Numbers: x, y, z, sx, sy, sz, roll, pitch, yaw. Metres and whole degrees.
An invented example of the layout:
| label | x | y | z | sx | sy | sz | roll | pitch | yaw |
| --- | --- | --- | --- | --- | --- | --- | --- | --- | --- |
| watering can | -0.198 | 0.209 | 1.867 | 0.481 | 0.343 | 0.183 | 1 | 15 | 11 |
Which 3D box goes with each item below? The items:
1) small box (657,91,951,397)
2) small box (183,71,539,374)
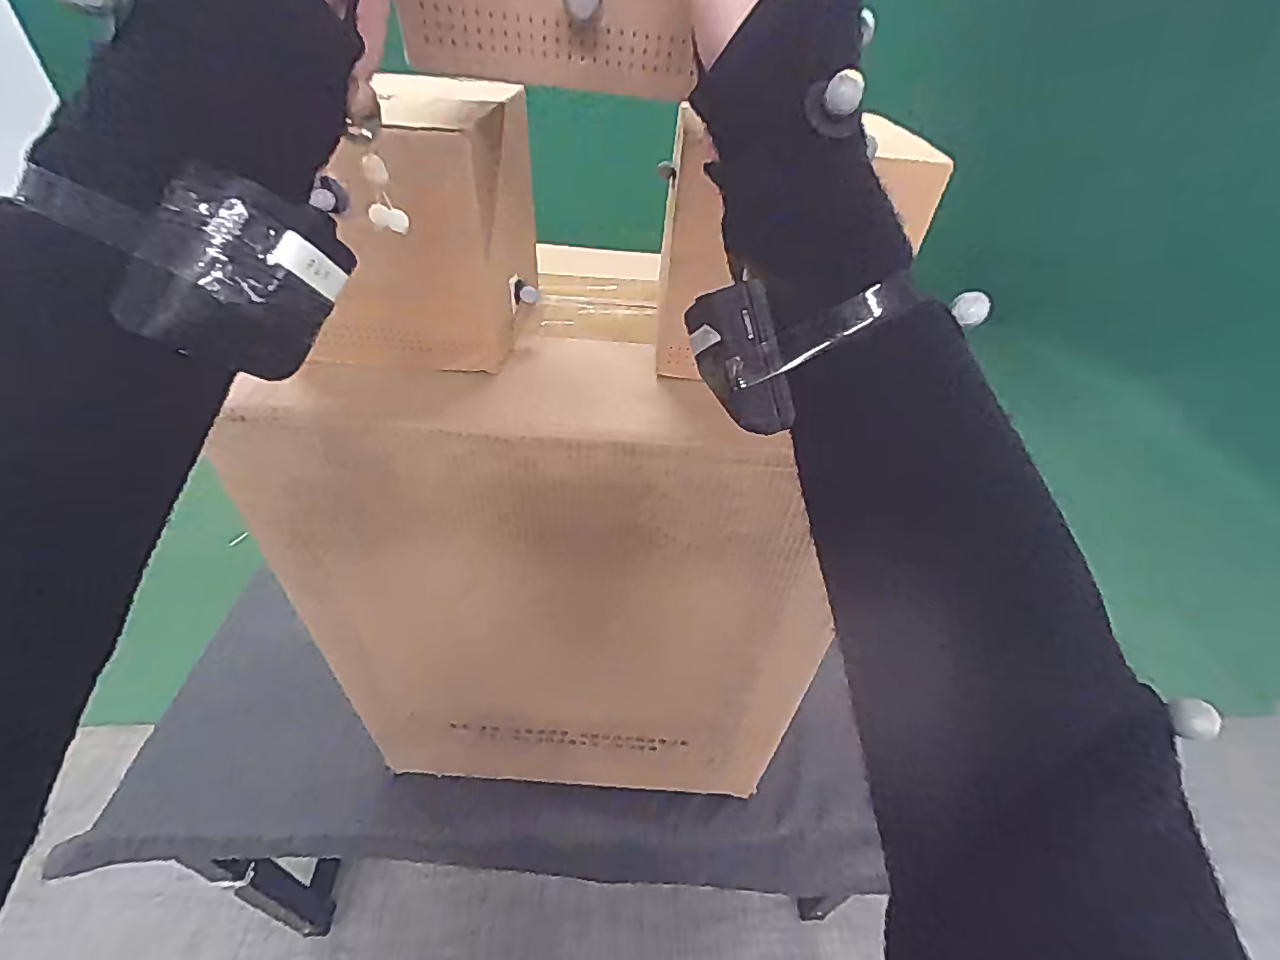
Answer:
| label | x | y | z | sx | sy | sz | roll | pitch | yaw |
| --- | --- | --- | --- | --- | --- | --- | --- | --- | --- |
| small box | 0.105 | -0.192 | 0.441 | 0.168 | 0.176 | 0.179 | 5 | 44 | -2 |
| small box | -0.182 | -0.199 | 0.425 | 0.179 | 0.176 | 0.168 | 5 | 45 | -2 |
